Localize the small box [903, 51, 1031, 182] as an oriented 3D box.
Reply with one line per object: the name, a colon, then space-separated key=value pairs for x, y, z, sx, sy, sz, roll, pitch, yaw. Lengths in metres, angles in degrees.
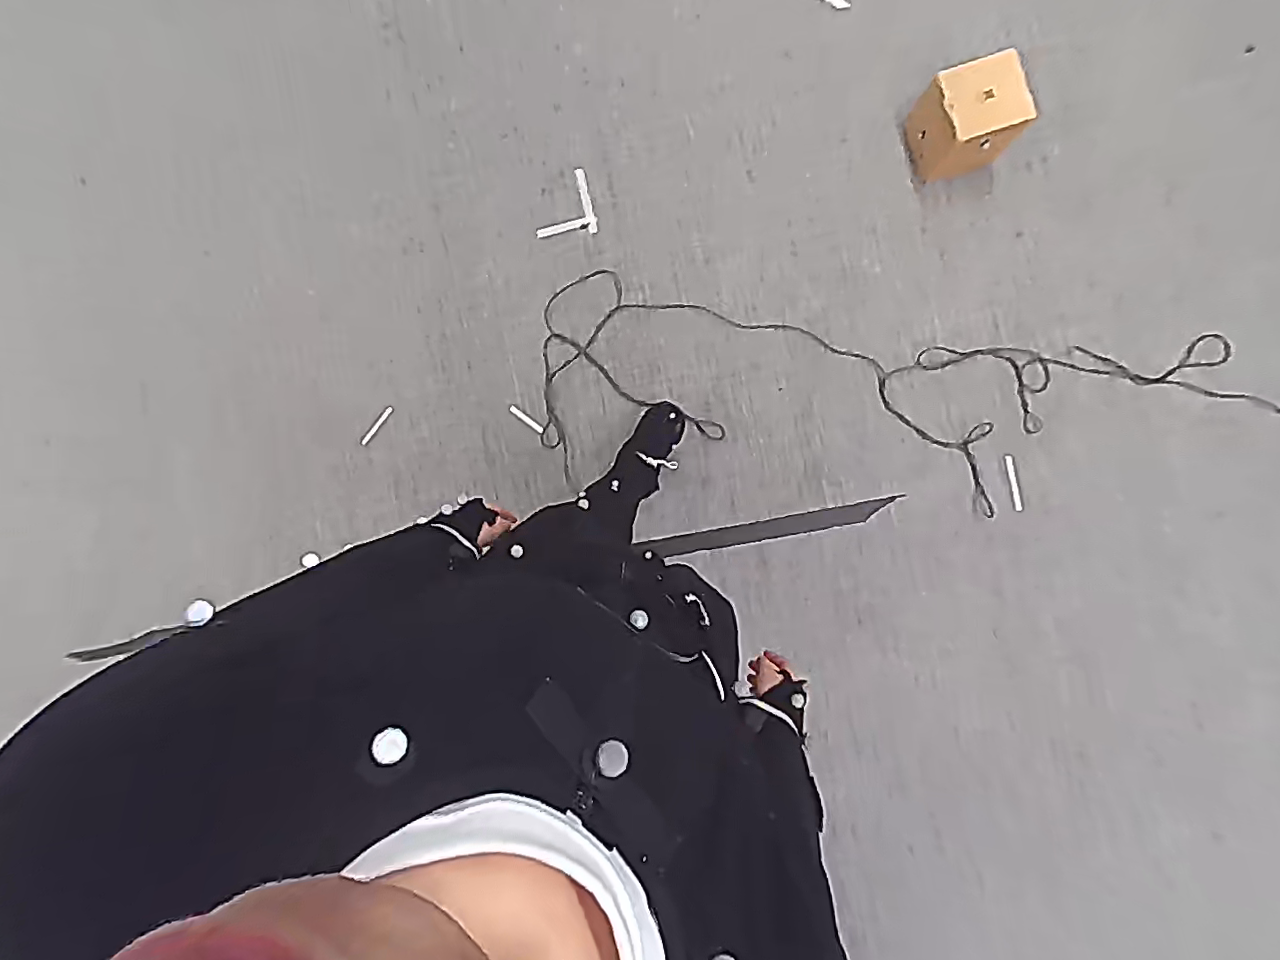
small box: x=0.756 y=-0.841 z=1.268 sx=0.179 sy=0.176 sz=0.168 roll=-17 pitch=88 yaw=3
